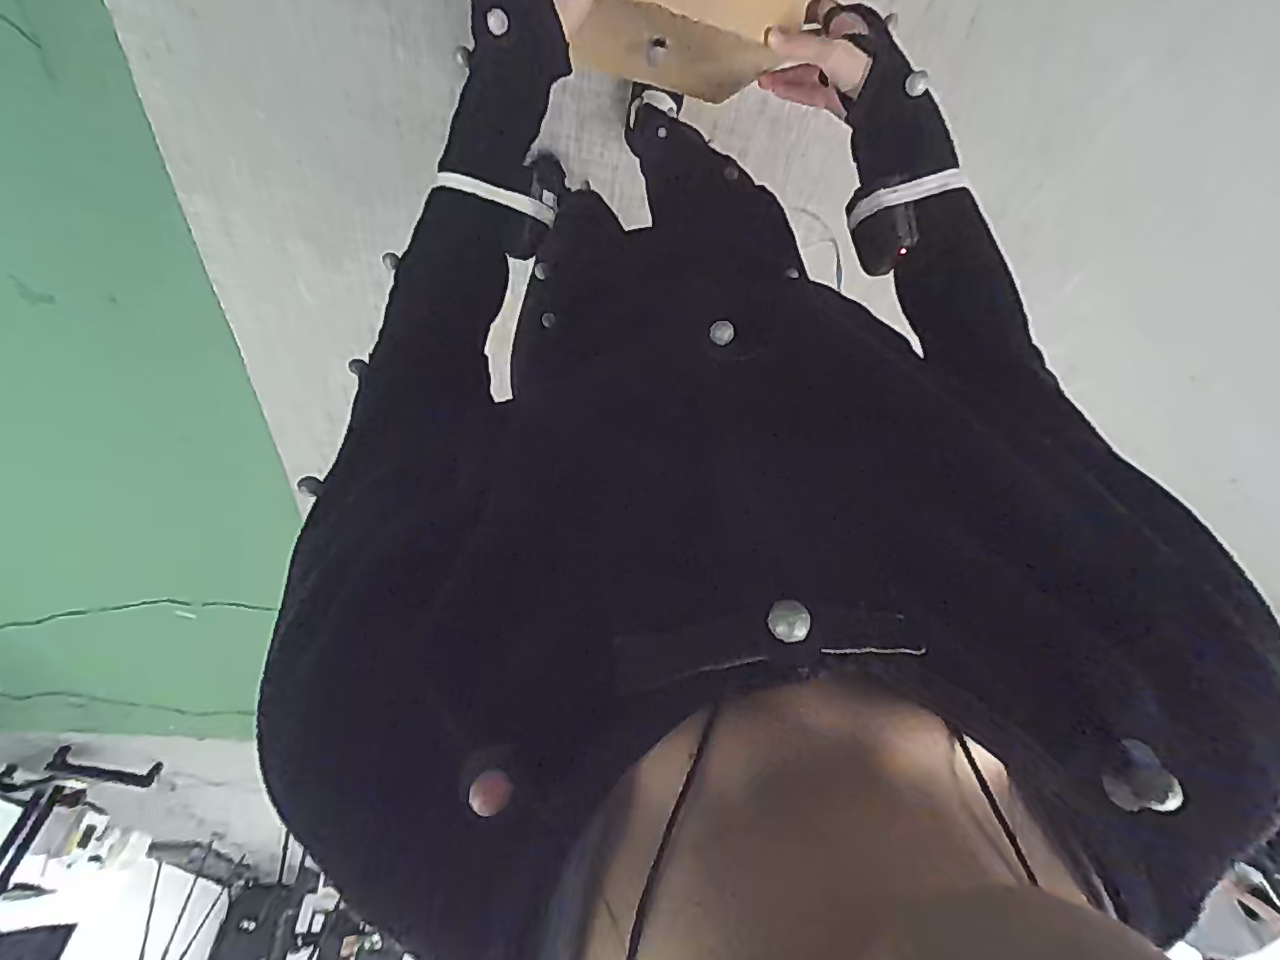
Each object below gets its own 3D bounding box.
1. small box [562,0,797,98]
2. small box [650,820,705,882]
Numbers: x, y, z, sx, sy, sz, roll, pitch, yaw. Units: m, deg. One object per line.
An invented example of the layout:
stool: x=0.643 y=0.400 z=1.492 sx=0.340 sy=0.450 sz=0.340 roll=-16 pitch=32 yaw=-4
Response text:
small box: x=0.032 y=-0.459 z=0.462 sx=0.179 sy=0.176 sz=0.168 roll=5 pitch=111 yaw=-16
small box: x=0.130 y=1.343 z=1.960 sx=0.168 sy=0.176 sz=0.179 roll=5 pitch=138 yaw=-7
